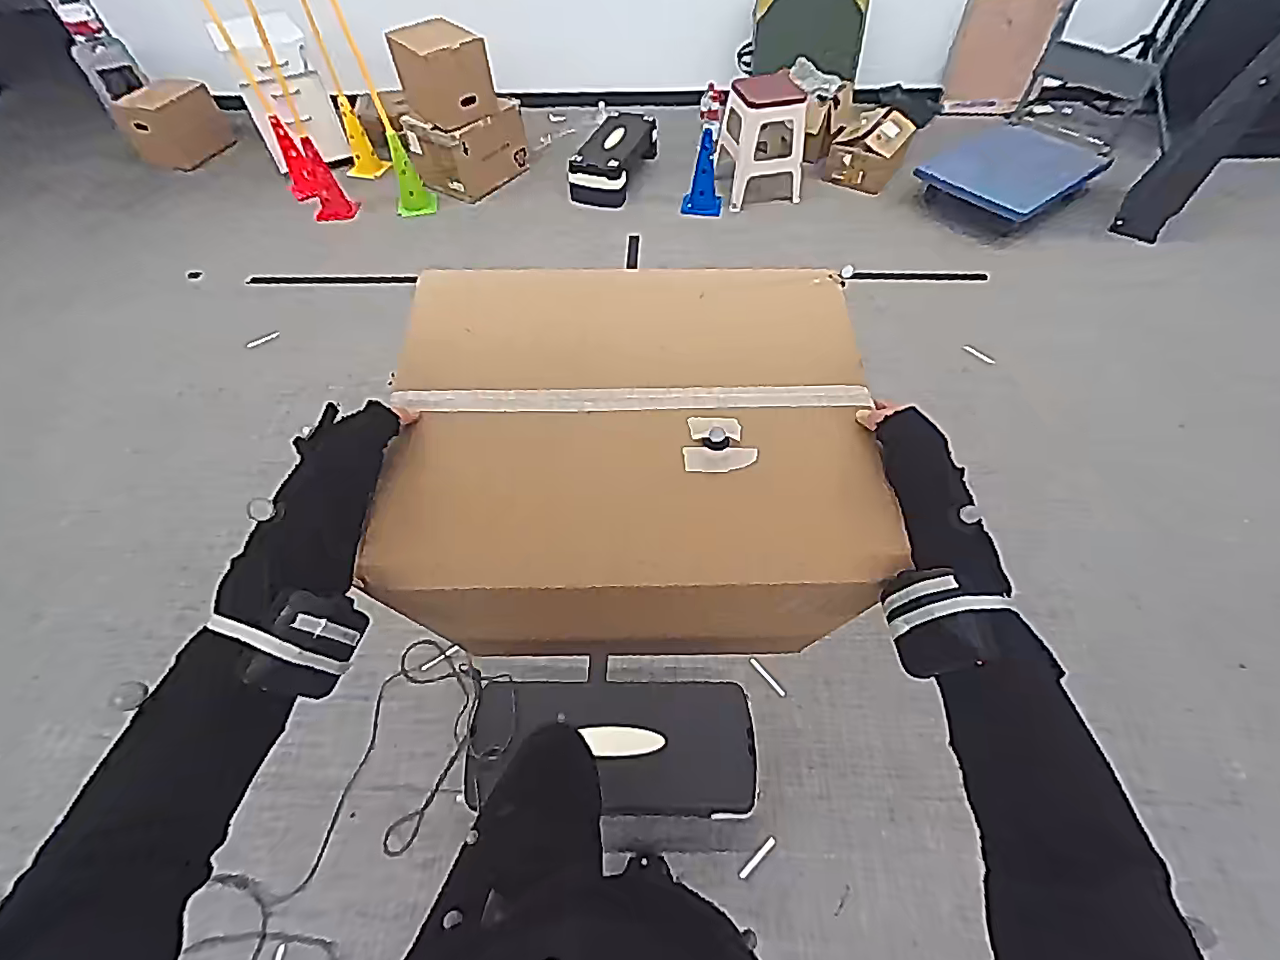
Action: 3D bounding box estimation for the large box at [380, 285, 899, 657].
[{"bbox_3d":[-0.006,0.008,0.607,0.408,0.320,0.320,0,63,-1],"label":"large box"}]
